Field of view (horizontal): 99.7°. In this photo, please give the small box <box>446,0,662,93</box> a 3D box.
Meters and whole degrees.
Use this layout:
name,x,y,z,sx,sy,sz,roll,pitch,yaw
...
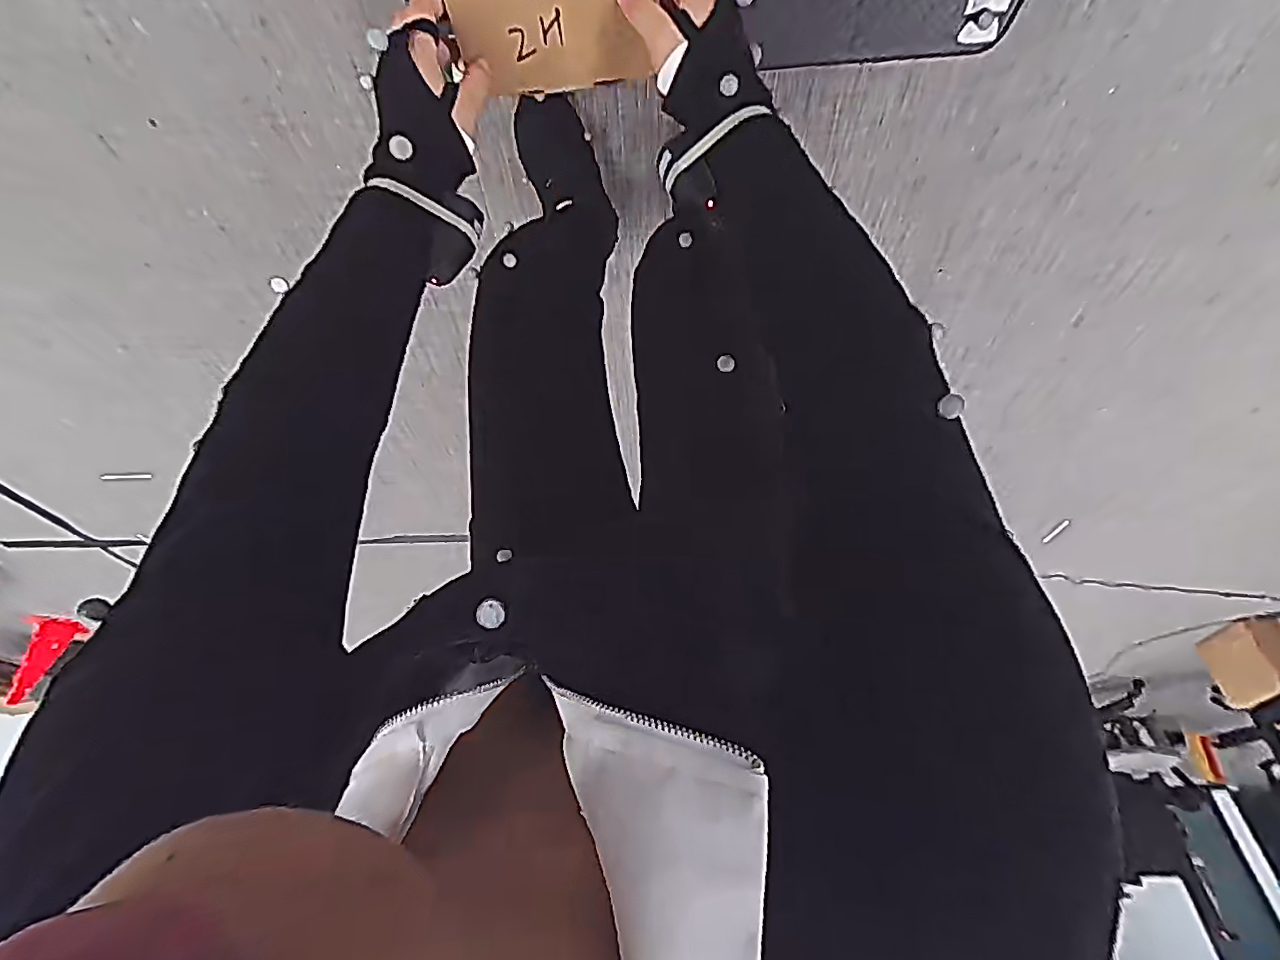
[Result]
name,x,y,z,sx,sy,sz,roll,pitch,yaw
small box,-0.072,-0.452,0.431,0.168,0.176,0.179,-4,148,4

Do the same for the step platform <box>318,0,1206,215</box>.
name,x,y,z,sx,sy,sz,roll,pitch,yaw
step platform,0.092,-0.431,0.466,0.684,0.204,0.286,-3,144,2
